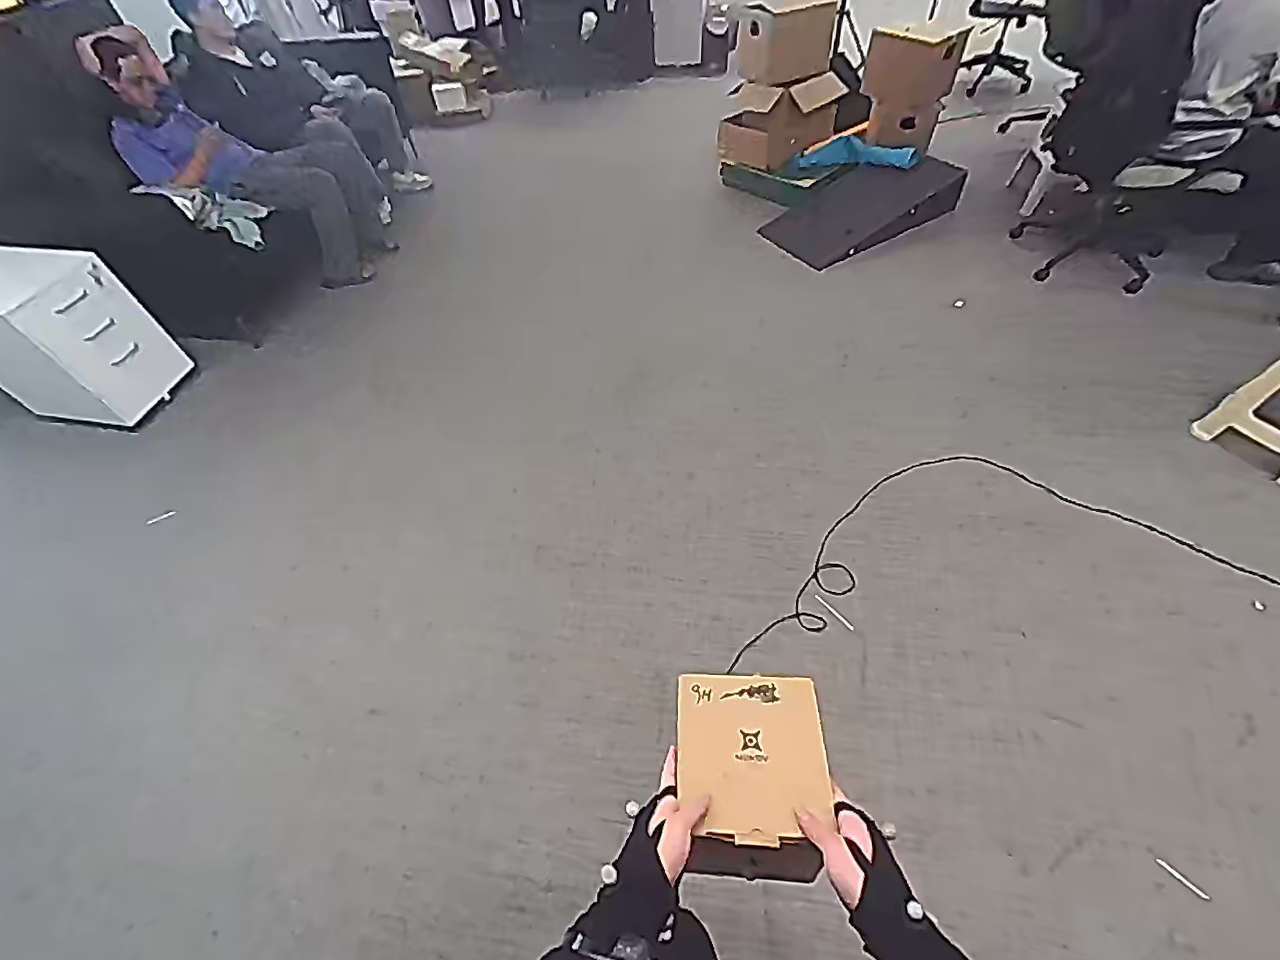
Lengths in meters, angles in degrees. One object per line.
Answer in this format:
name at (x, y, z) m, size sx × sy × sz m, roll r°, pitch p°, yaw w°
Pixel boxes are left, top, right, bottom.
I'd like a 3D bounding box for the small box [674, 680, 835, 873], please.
small box at (0.130, 0.371, 0.673) m, size 0.168 × 0.176 × 0.179 m, roll -3°, pitch 44°, yaw 4°
